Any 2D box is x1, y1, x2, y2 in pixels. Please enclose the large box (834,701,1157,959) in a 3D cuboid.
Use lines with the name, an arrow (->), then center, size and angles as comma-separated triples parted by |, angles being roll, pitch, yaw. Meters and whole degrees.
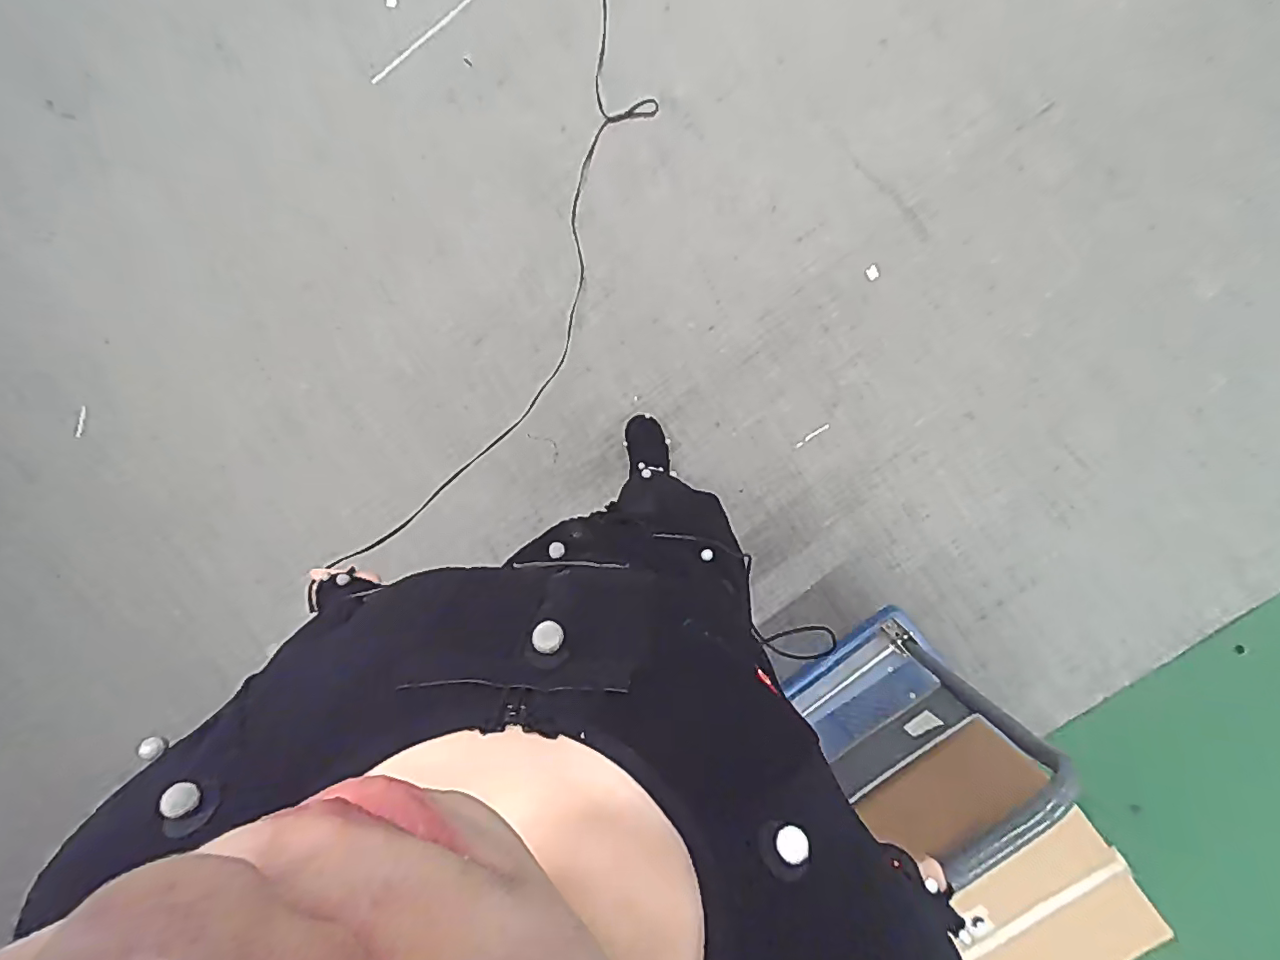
large box -> 0.696, 0.755, 1.134 | 0.408, 0.320, 0.320 | -37, 87, 6
